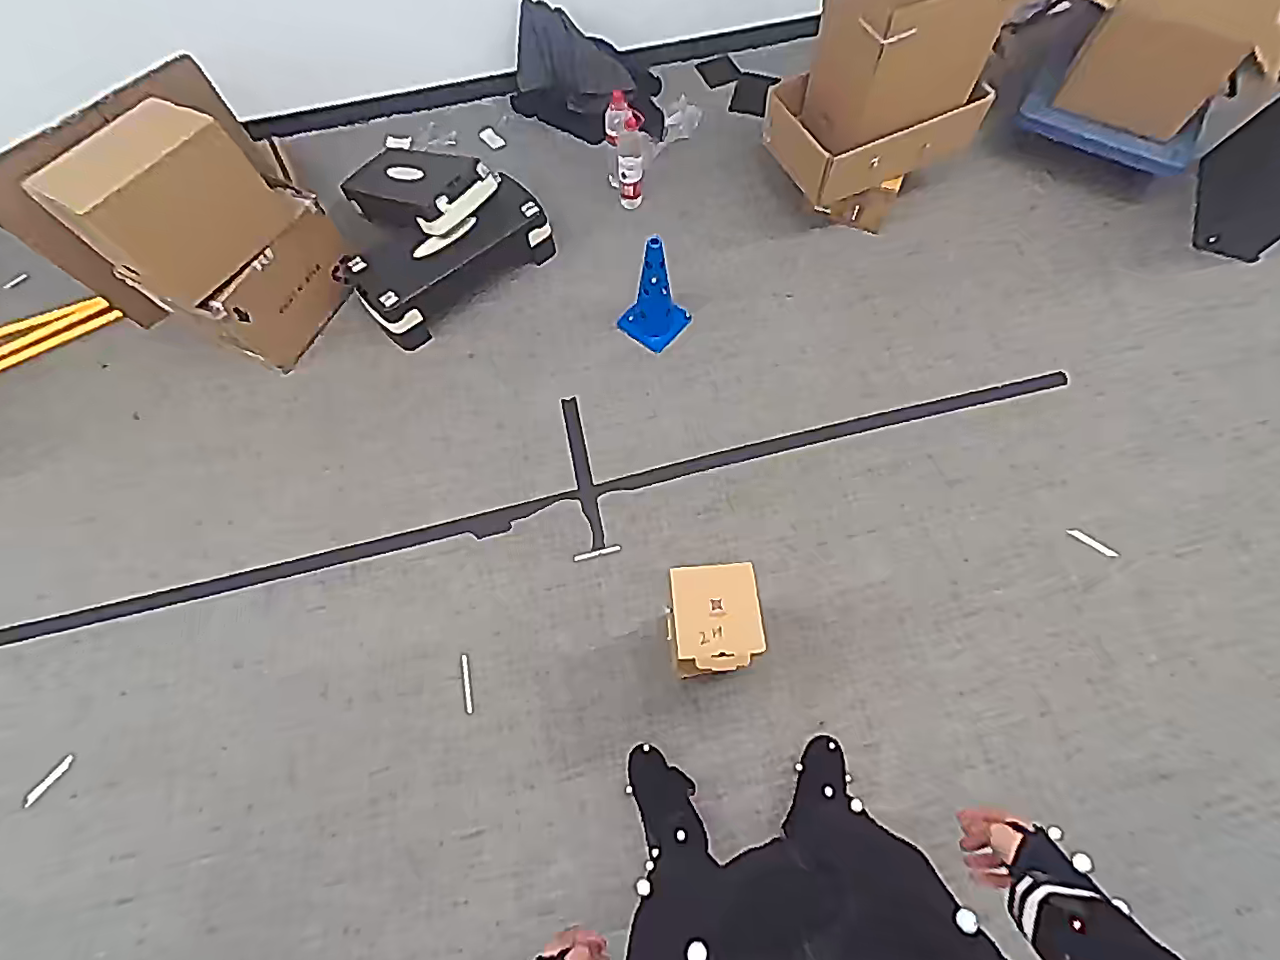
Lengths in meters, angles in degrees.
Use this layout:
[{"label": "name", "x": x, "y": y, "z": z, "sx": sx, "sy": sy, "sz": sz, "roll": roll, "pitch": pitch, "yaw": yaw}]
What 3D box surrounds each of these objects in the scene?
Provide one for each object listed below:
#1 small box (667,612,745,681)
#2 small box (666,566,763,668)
[{"label": "small box", "x": 0.165, "y": 0.420, "z": 1.406, "sx": 0.168, "sy": 0.176, "sz": 0.179, "roll": -9, "pitch": 68, "yaw": -2}, {"label": "small box", "x": 0.144, "y": 0.284, "z": 1.105, "sx": 0.168, "sy": 0.176, "sz": 0.179, "roll": -4, "pitch": 68, "yaw": -1}]
